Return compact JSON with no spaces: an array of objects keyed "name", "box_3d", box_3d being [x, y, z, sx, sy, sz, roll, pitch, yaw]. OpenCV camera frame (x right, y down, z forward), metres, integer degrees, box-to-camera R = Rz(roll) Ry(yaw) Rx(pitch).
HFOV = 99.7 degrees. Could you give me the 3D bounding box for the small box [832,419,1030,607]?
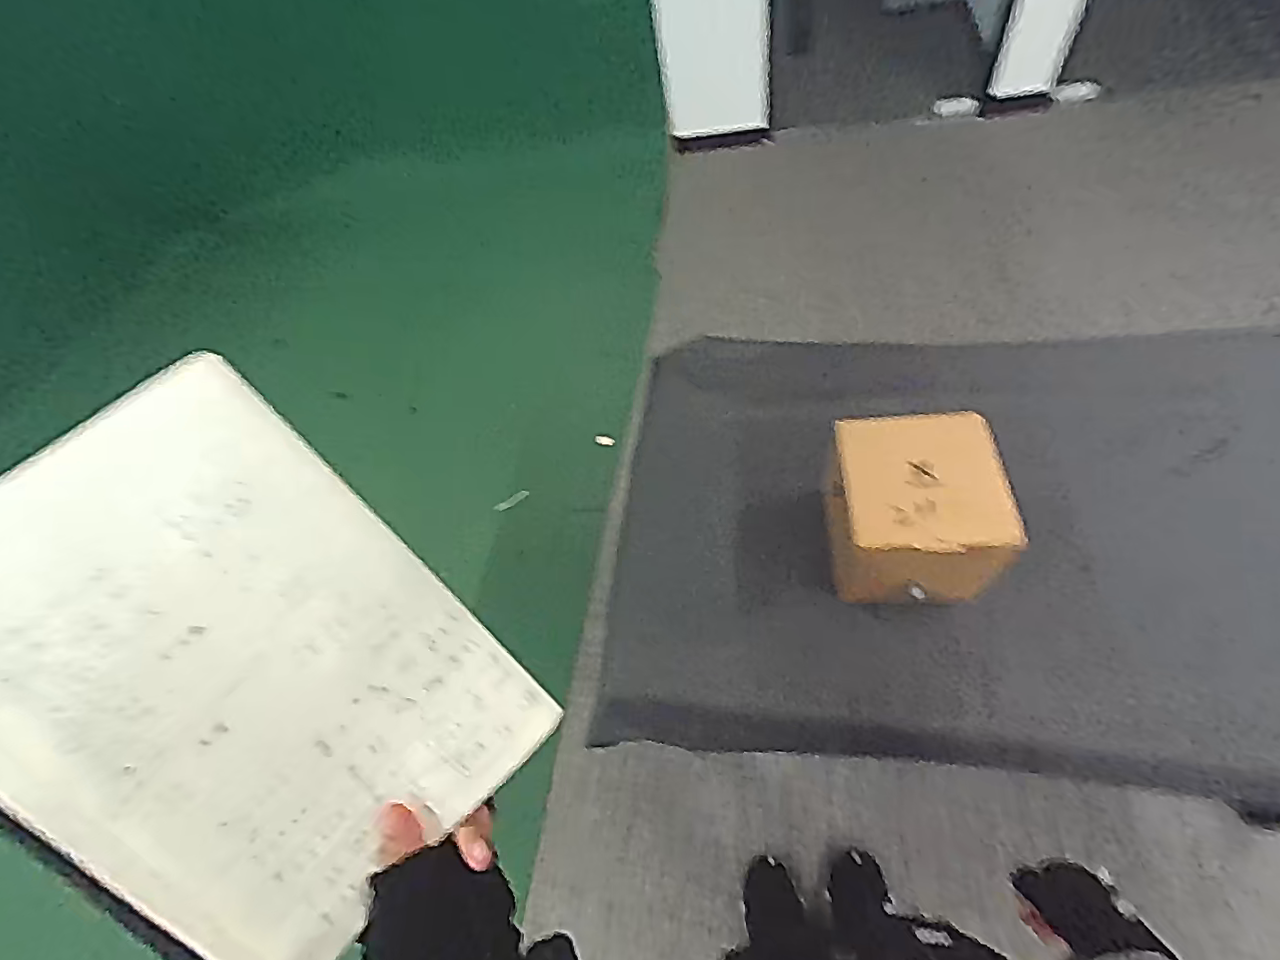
[{"name":"small box","box_3d":[0.342,0.045,0.680,0.168,0.176,0.179,-3,56,12]}]
